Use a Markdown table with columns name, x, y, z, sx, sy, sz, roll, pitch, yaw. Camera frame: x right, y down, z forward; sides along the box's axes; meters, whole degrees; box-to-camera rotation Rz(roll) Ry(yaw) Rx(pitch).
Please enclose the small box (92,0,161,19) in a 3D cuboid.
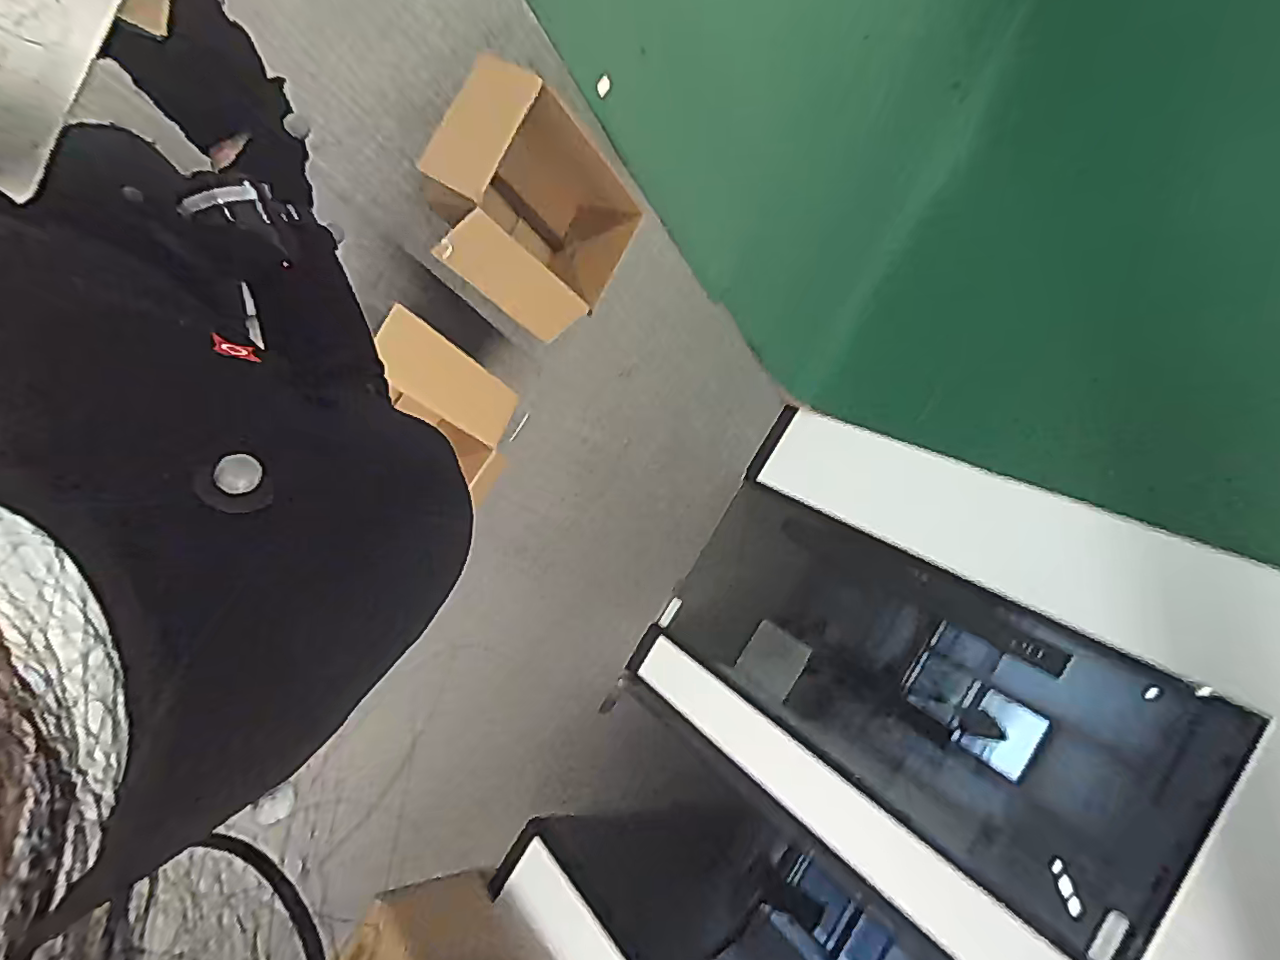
| name | x | y | z | sx | sy | sz | roll | pitch | yaw |
| --- | --- | --- | --- | --- | --- | --- | --- | --- | --- |
| small box | -0.322 | -0.340 | 0.218 | 0.179 | 0.176 | 0.168 | -3 | 121 | -55 |
